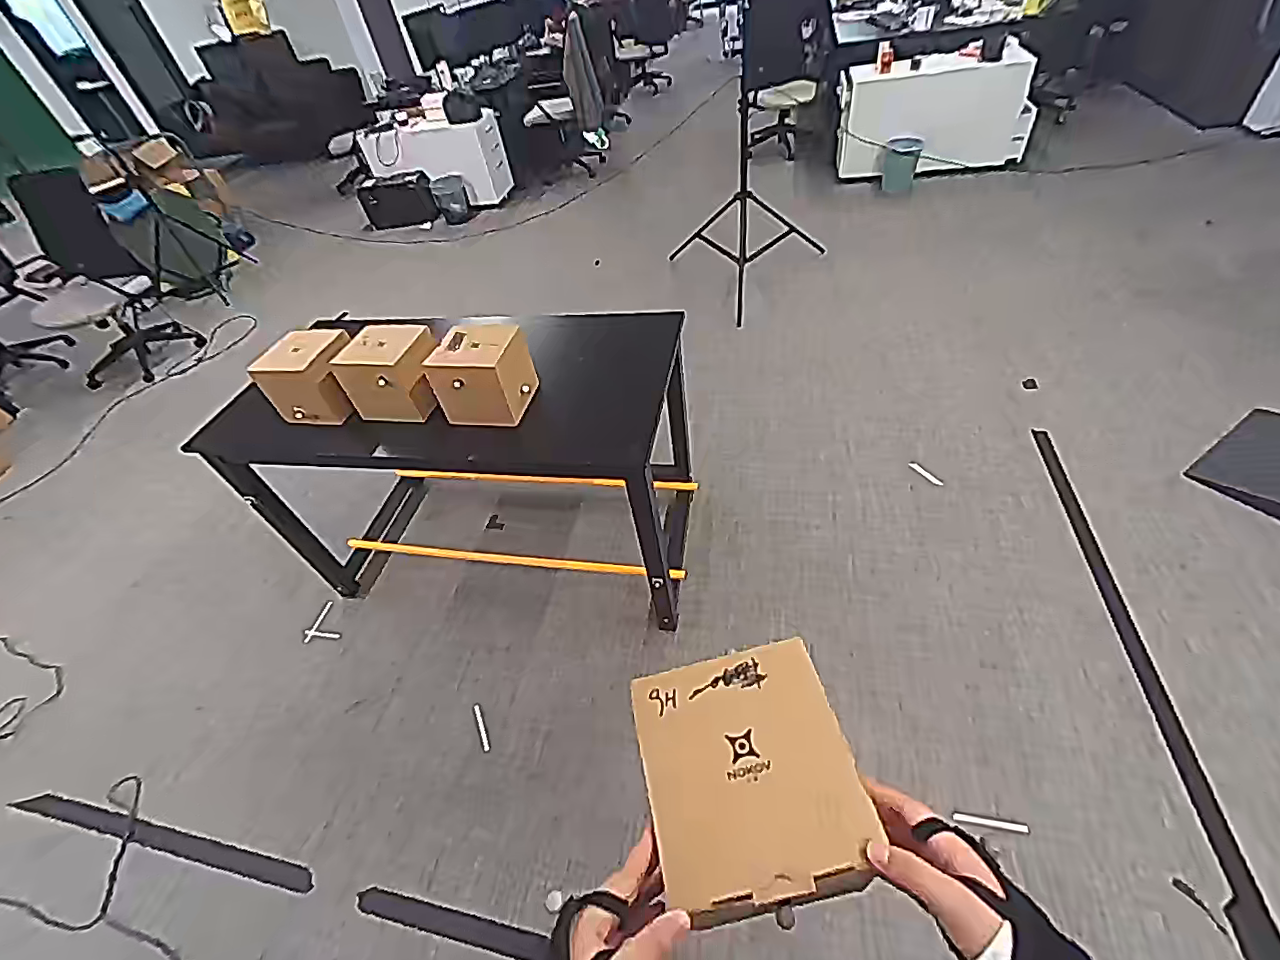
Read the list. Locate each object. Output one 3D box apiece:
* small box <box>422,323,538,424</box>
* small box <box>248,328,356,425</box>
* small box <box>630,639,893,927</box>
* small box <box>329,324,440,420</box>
[{"bbox_3d":[-0.360,-0.244,1.251,0.179,0.176,0.168,4,47,13],"label":"small box"},{"bbox_3d":[-0.810,-0.259,1.352,0.168,0.176,0.179,1,48,14],"label":"small box"},{"bbox_3d":[0.099,0.277,0.490,0.168,0.176,0.179,-15,48,0],"label":"small box"},{"bbox_3d":[-0.594,-0.260,1.310,0.179,0.176,0.168,3,47,14],"label":"small box"}]
